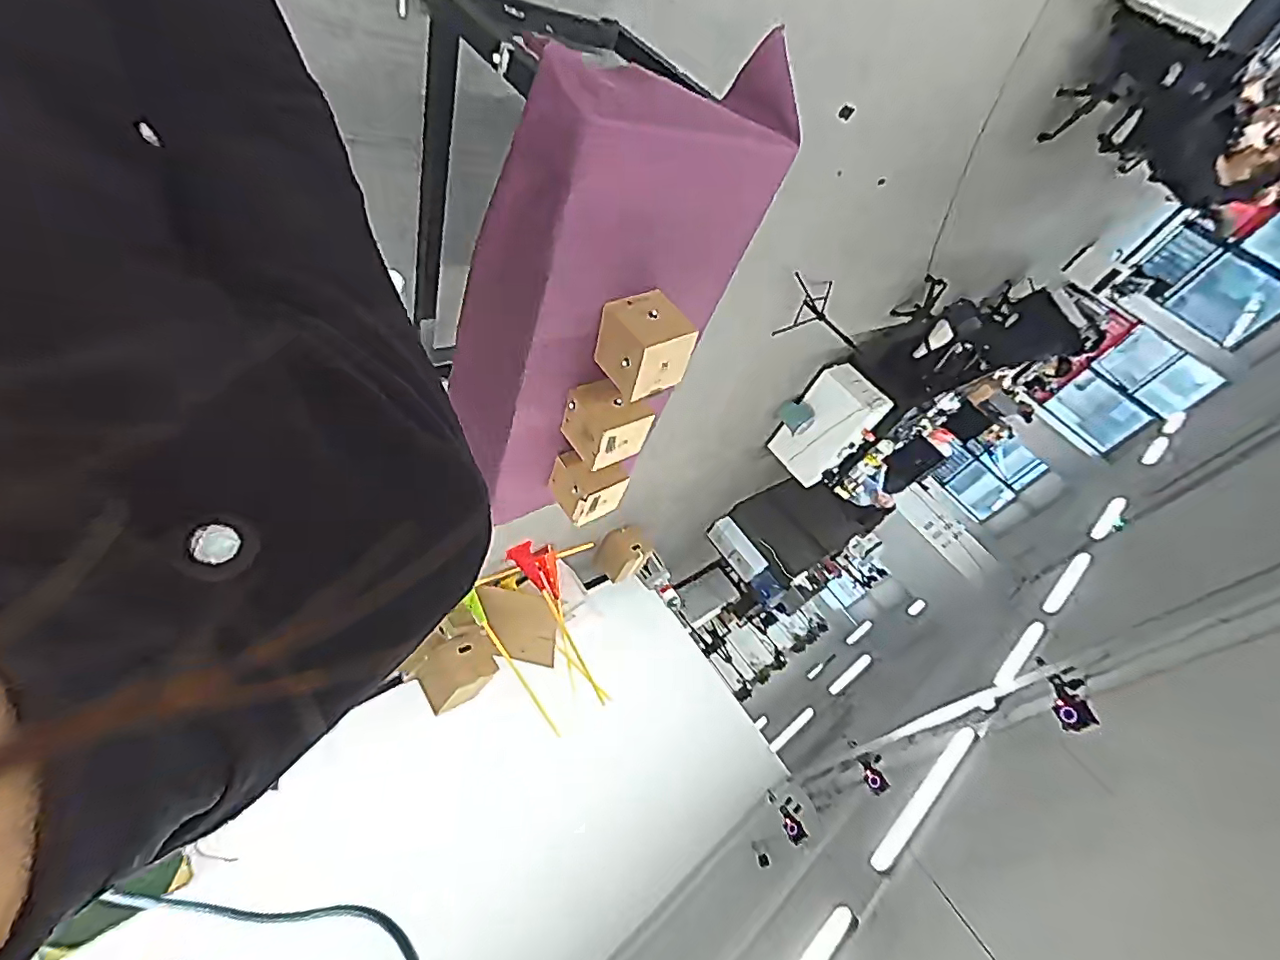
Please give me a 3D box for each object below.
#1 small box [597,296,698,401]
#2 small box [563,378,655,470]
[{"bbox_3d":[0.010,-0.331,1.327,0.168,0.176,0.179,-25,155,-29],"label":"small box"},{"bbox_3d":[-0.092,-0.161,1.503,0.179,0.176,0.168,-25,155,-33],"label":"small box"}]
